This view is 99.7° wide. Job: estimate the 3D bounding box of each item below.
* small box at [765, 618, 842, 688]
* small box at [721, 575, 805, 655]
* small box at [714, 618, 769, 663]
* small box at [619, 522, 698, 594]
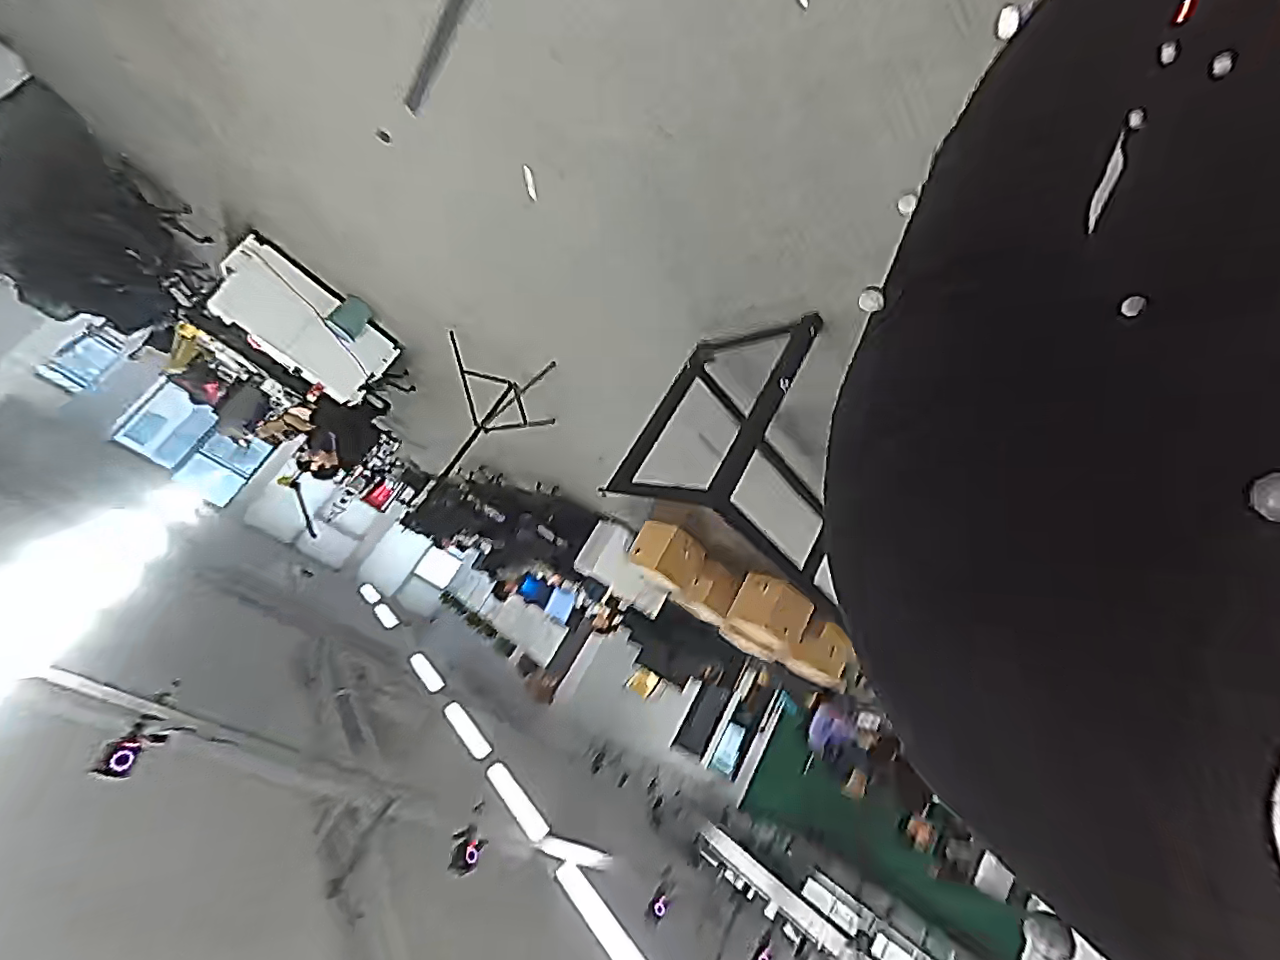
[{"bbox_3d":[0.575,0.586,1.875,0.168,0.176,0.179,40,161,-23],"label":"small box"},{"bbox_3d":[0.404,0.434,1.758,0.179,0.176,0.168,43,159,-28],"label":"small box"},{"bbox_3d":[0.427,0.577,2.102,0.168,0.176,0.179,43,159,-30],"label":"small box"},{"bbox_3d":[0.067,0.262,1.859,0.168,0.176,0.179,42,160,-31],"label":"small box"}]
